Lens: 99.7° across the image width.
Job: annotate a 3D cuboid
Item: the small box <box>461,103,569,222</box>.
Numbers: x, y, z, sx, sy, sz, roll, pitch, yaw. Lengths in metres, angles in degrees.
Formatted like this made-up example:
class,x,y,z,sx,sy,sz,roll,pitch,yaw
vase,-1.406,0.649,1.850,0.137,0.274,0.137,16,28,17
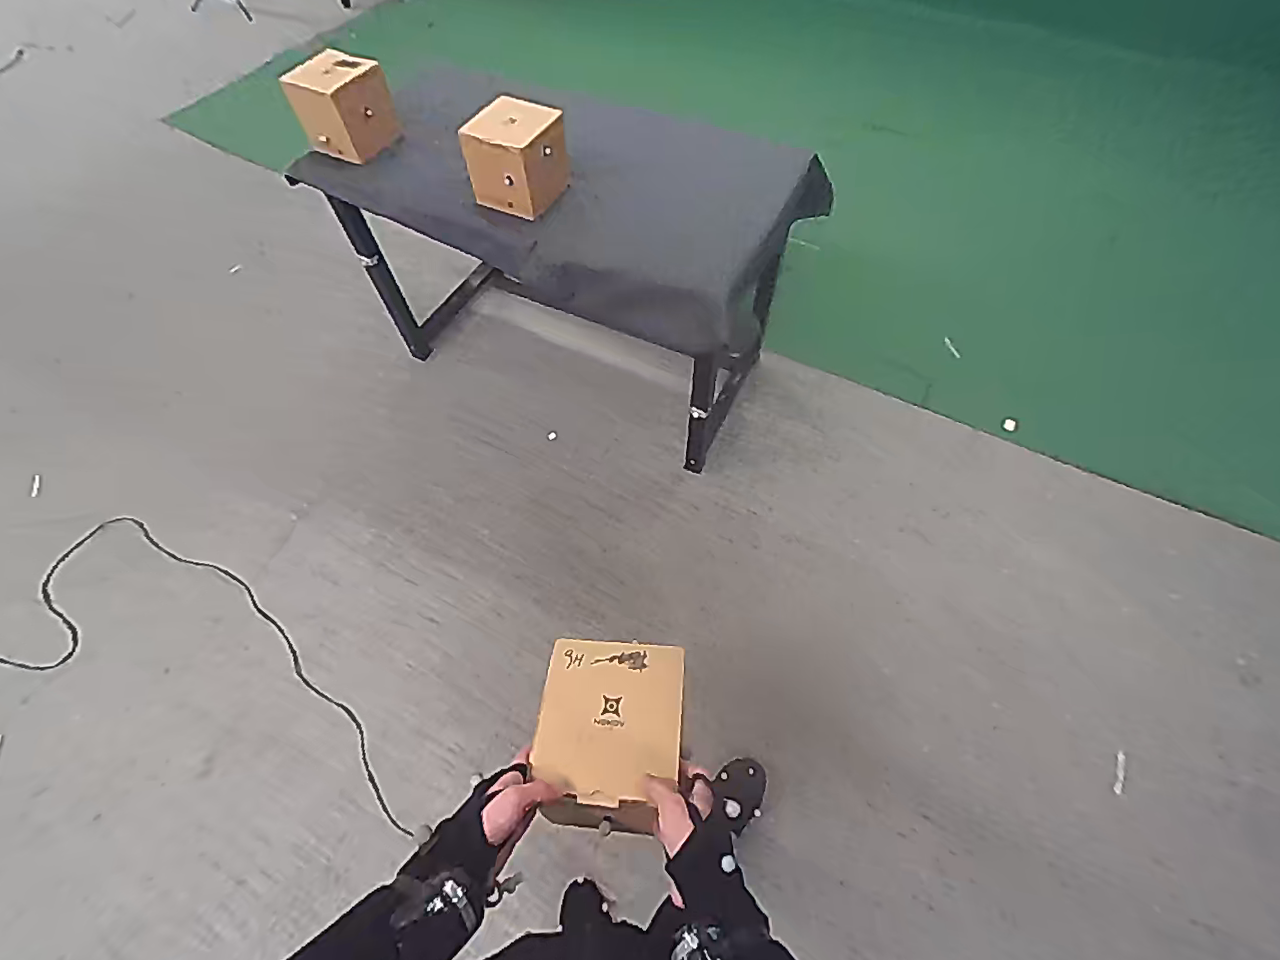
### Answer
class,x,y,z,sx,sy,sz,roll,pitch,yaw
small box,-0.278,-0.733,1.257,0.168,0.176,0.179,23,61,13

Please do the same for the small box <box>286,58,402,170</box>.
class,x,y,z,sx,sy,sz,roll,pitch,yaw
small box,-0.742,-0.936,1.386,0.168,0.176,0.179,23,62,14

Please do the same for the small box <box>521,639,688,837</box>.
class,x,y,z,sx,sy,sz,roll,pitch,yaw
small box,-0.028,0.316,0.659,0.168,0.176,0.179,2,48,7
